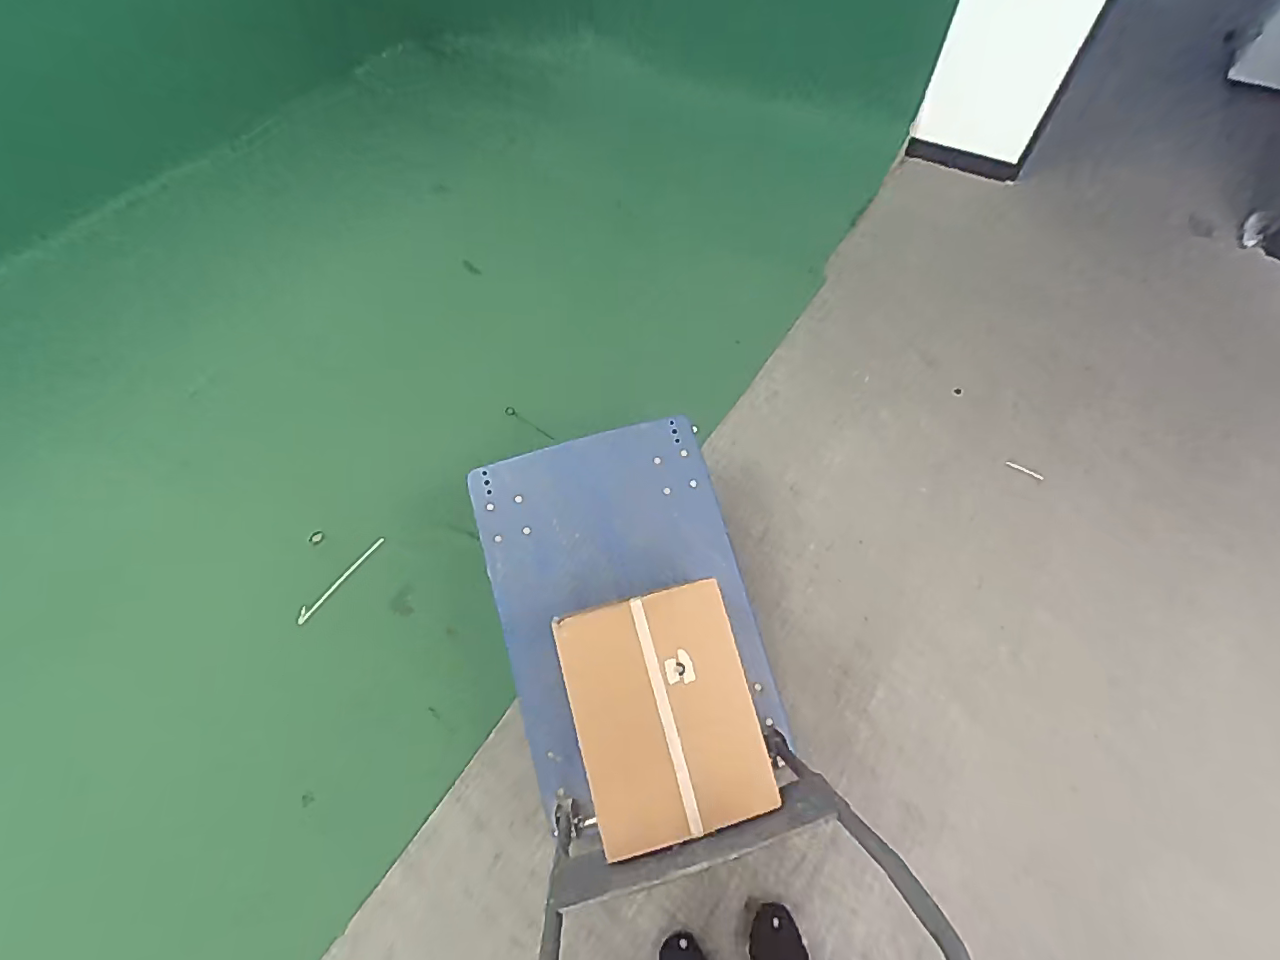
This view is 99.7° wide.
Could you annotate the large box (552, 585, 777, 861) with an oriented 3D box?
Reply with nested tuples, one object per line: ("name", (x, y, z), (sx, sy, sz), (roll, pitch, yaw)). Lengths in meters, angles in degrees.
("large box", (0.037, 0.456, 1.111), (0.320, 0.320, 0.408), (-15, 78, -5))
